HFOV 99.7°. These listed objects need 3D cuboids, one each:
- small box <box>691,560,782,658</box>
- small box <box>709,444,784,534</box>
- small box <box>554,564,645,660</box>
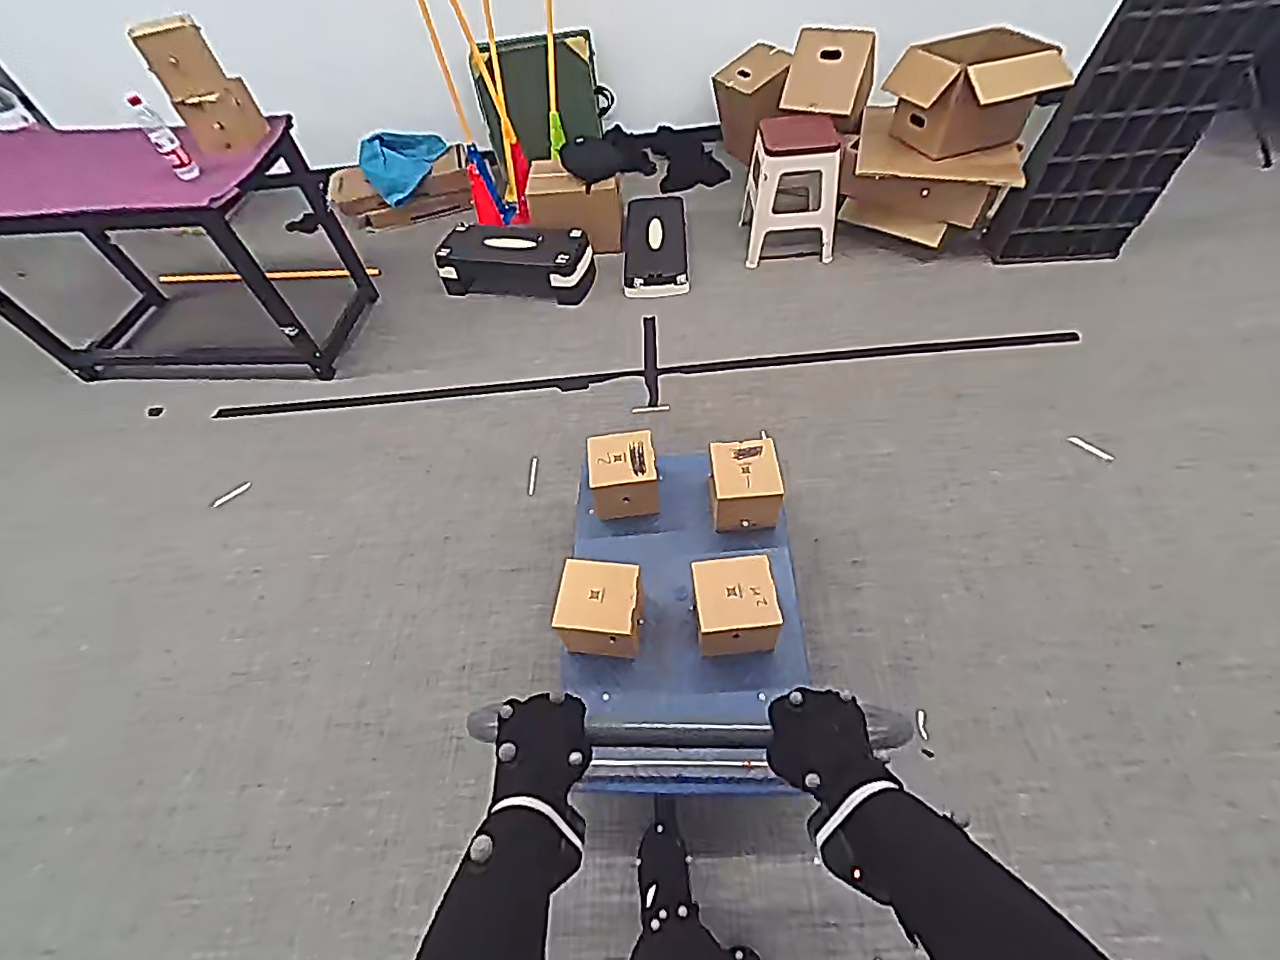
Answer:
[{"bbox_3d":[0.217,0.302,1.248,0.179,0.176,0.168,-6,55,2],"label":"small box"},{"bbox_3d":[0.275,0.026,1.436,0.168,0.176,0.179,-4,56,3],"label":"small box"},{"bbox_3d":[-0.088,0.313,1.273,0.179,0.176,0.168,4,55,7],"label":"small box"}]
